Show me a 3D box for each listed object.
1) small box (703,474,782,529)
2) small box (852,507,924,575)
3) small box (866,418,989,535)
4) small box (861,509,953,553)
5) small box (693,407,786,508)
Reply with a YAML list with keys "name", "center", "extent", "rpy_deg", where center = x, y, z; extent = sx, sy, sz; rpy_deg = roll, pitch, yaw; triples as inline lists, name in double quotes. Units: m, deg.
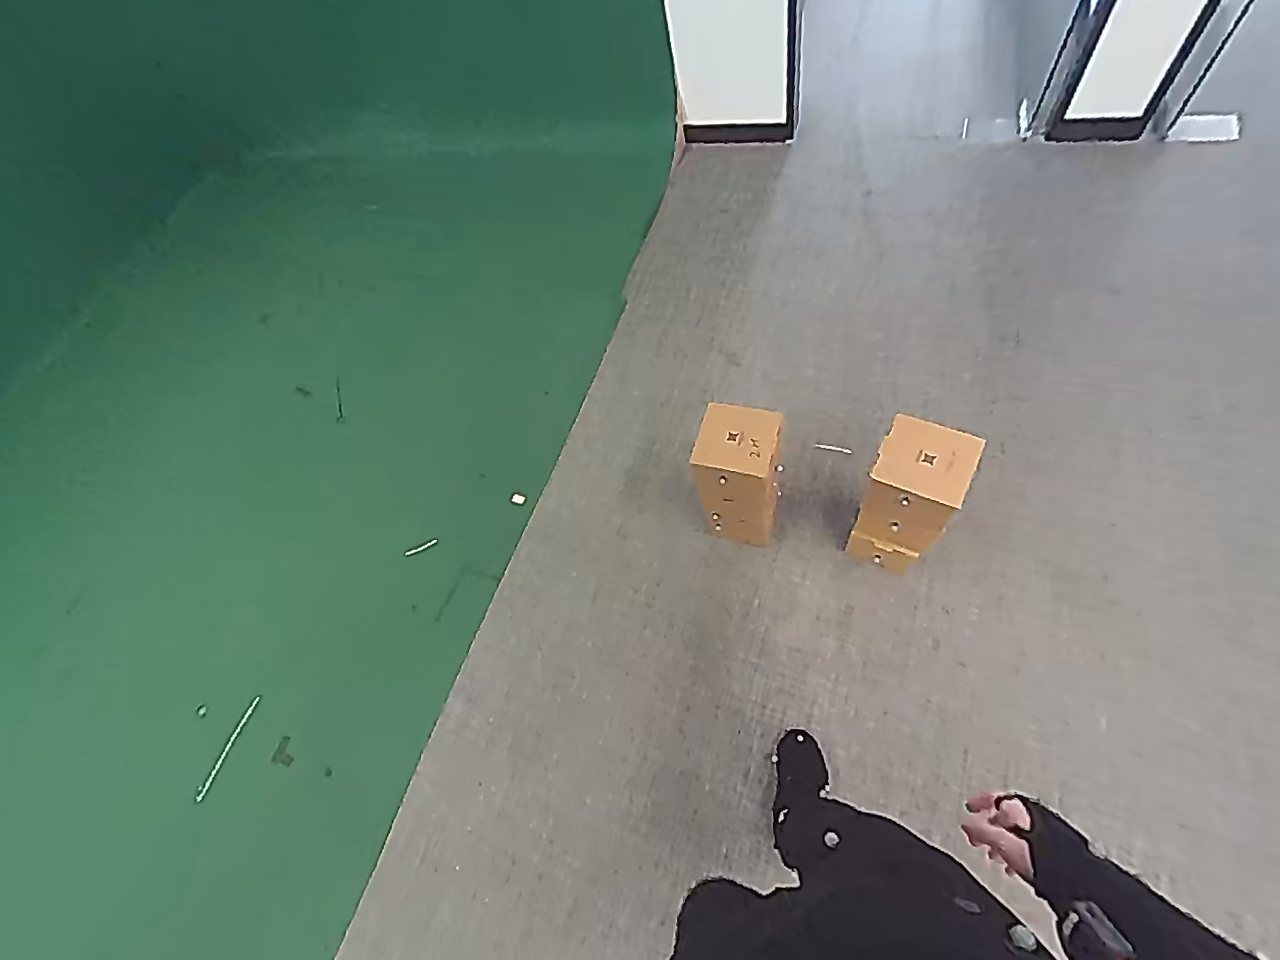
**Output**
- name: "small box"
  center: [0.277, 0.012, 1.425]
  extent: [0.168, 0.176, 0.179]
  rpy_deg: [11, 67, 19]
- name: "small box"
  center: [0.677, 0.134, 1.443]
  extent: [0.168, 0.176, 0.179]
  rpy_deg: [21, 73, 22]
- name: "small box"
  center: [0.603, -0.002, 1.157]
  extent: [0.179, 0.176, 0.168]
  rpy_deg: [23, 73, 24]
- name: "small box"
  center: [0.650, 0.060, 1.301]
  extent: [0.179, 0.176, 0.168]
  rpy_deg: [19, 71, 23]
- name: "small box"
  center: [0.240, -0.048, 1.275]
  extent: [0.179, 0.176, 0.168]
  rpy_deg: [12, 68, 20]
